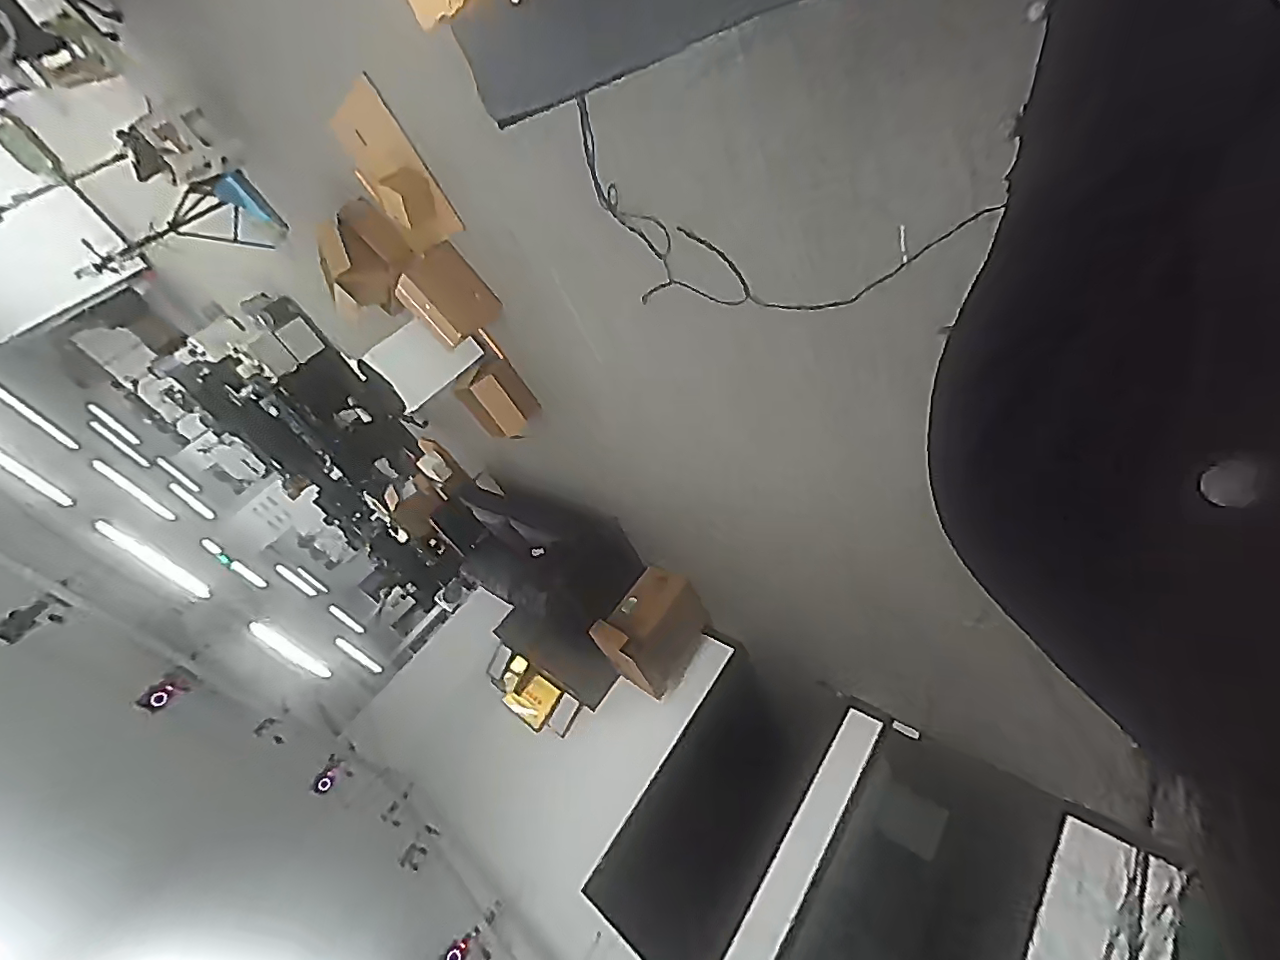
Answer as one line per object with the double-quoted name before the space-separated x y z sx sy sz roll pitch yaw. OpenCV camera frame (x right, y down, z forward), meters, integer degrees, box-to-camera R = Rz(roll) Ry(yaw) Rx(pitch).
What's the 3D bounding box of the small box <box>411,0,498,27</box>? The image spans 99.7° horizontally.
"small box" -0.207 -0.699 0.647 0.168 0.176 0.179 14 143 43
